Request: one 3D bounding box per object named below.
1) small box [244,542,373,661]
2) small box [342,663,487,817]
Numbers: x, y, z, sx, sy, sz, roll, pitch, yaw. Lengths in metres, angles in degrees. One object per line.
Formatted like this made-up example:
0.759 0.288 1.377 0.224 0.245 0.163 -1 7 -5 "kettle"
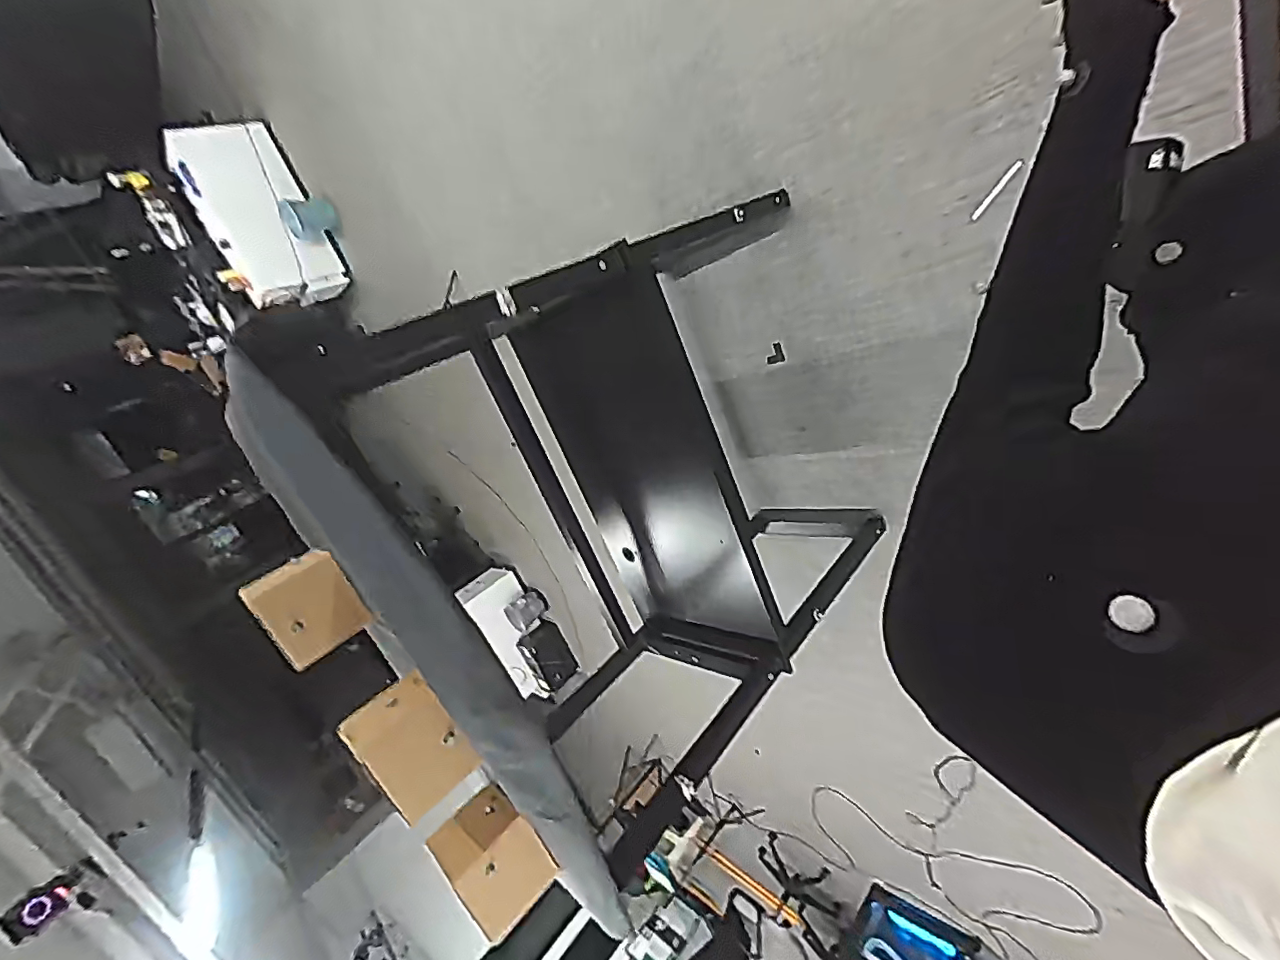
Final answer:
-0.715 0.256 1.175 0.168 0.176 0.179 -3 116 50 "small box"
-0.424 0.478 1.025 0.168 0.176 0.179 -4 116 51 "small box"
